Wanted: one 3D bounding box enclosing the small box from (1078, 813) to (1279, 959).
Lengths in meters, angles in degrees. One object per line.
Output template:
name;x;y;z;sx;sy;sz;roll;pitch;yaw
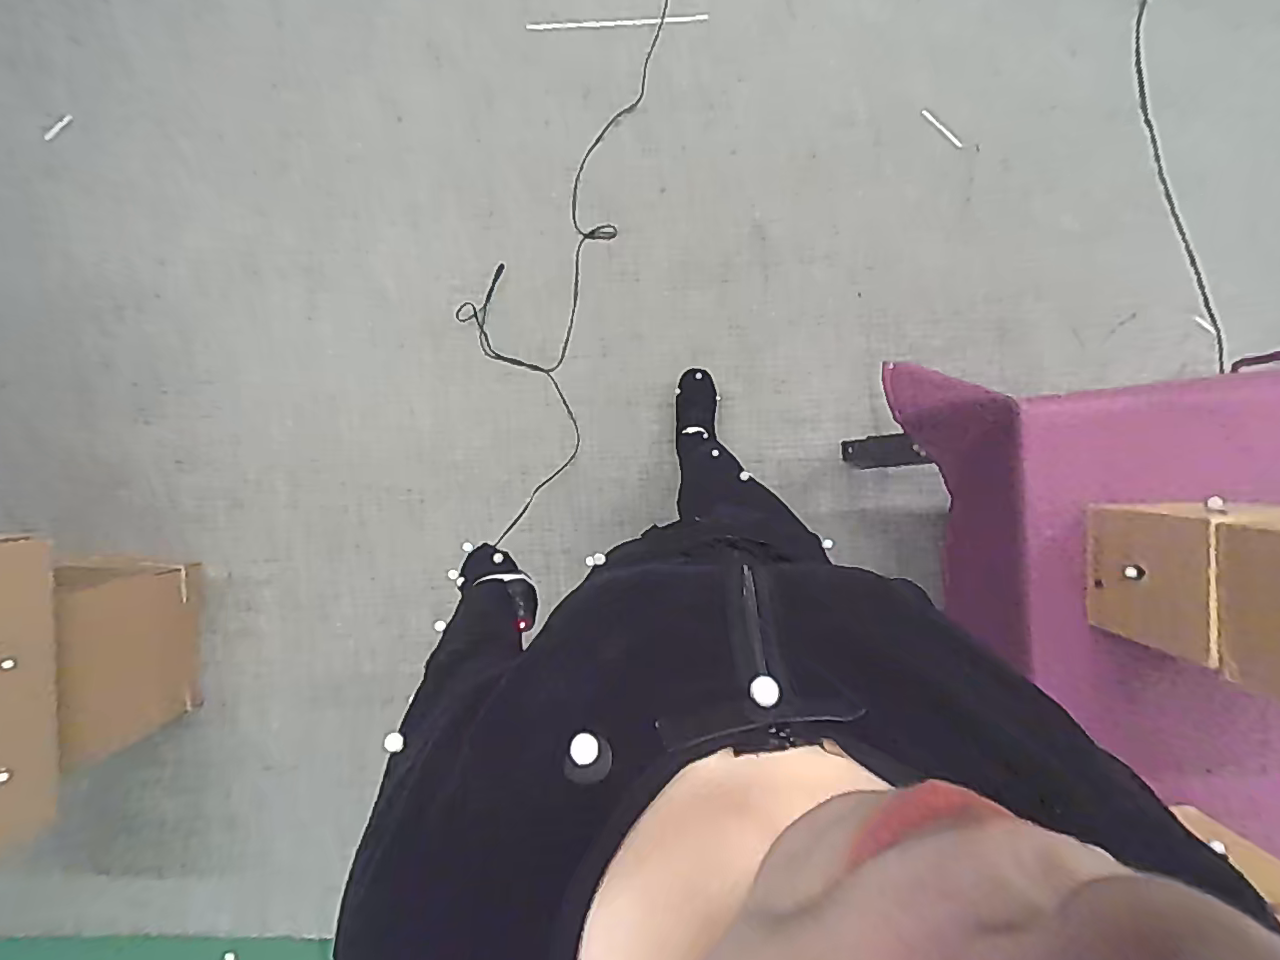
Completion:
small box;0.691;0.545;0.675;0.168;0.176;0.179;-3;92;1

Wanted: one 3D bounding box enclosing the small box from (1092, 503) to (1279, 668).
small box;0.698;0.118;0.657;0.179;0.176;0.168;-1;93;1

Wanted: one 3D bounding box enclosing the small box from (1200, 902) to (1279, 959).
small box;0.688;0.544;0.510;0.168;0.176;0.179;1;92;1

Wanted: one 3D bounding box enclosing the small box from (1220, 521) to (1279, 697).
small box;0.696;0.129;0.494;0.168;0.176;0.179;-3;92;2
